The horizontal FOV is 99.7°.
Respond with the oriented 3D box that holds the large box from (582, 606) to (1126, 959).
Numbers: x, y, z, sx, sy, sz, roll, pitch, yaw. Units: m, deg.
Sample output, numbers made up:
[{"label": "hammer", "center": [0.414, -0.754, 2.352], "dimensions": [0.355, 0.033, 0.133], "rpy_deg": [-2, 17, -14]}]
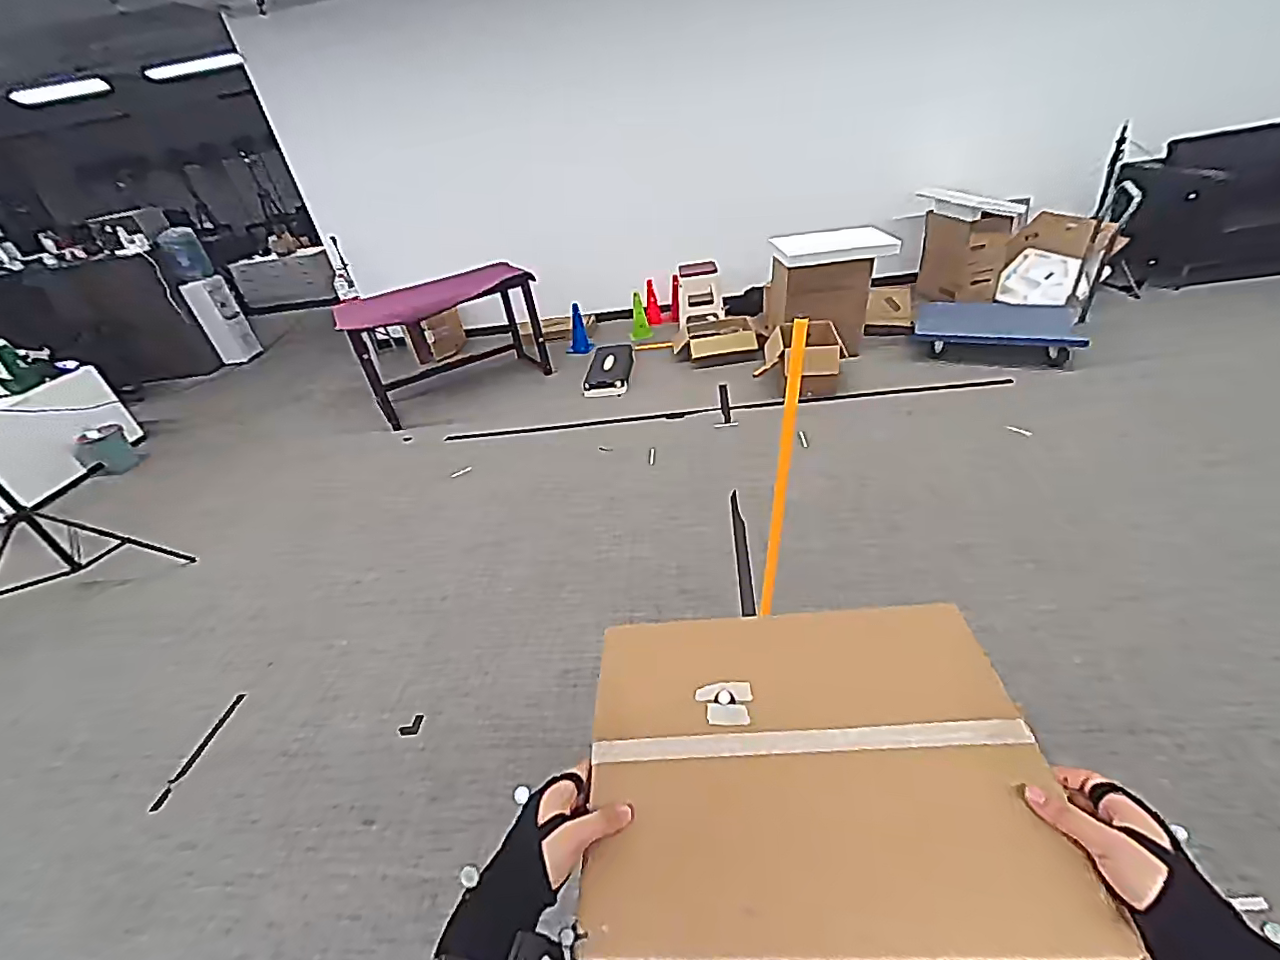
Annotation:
[{"label": "large box", "center": [0.180, 0.377, 0.606], "dimensions": [0.408, 0.320, 0.320], "rpy_deg": [-7, 35, 8]}]
